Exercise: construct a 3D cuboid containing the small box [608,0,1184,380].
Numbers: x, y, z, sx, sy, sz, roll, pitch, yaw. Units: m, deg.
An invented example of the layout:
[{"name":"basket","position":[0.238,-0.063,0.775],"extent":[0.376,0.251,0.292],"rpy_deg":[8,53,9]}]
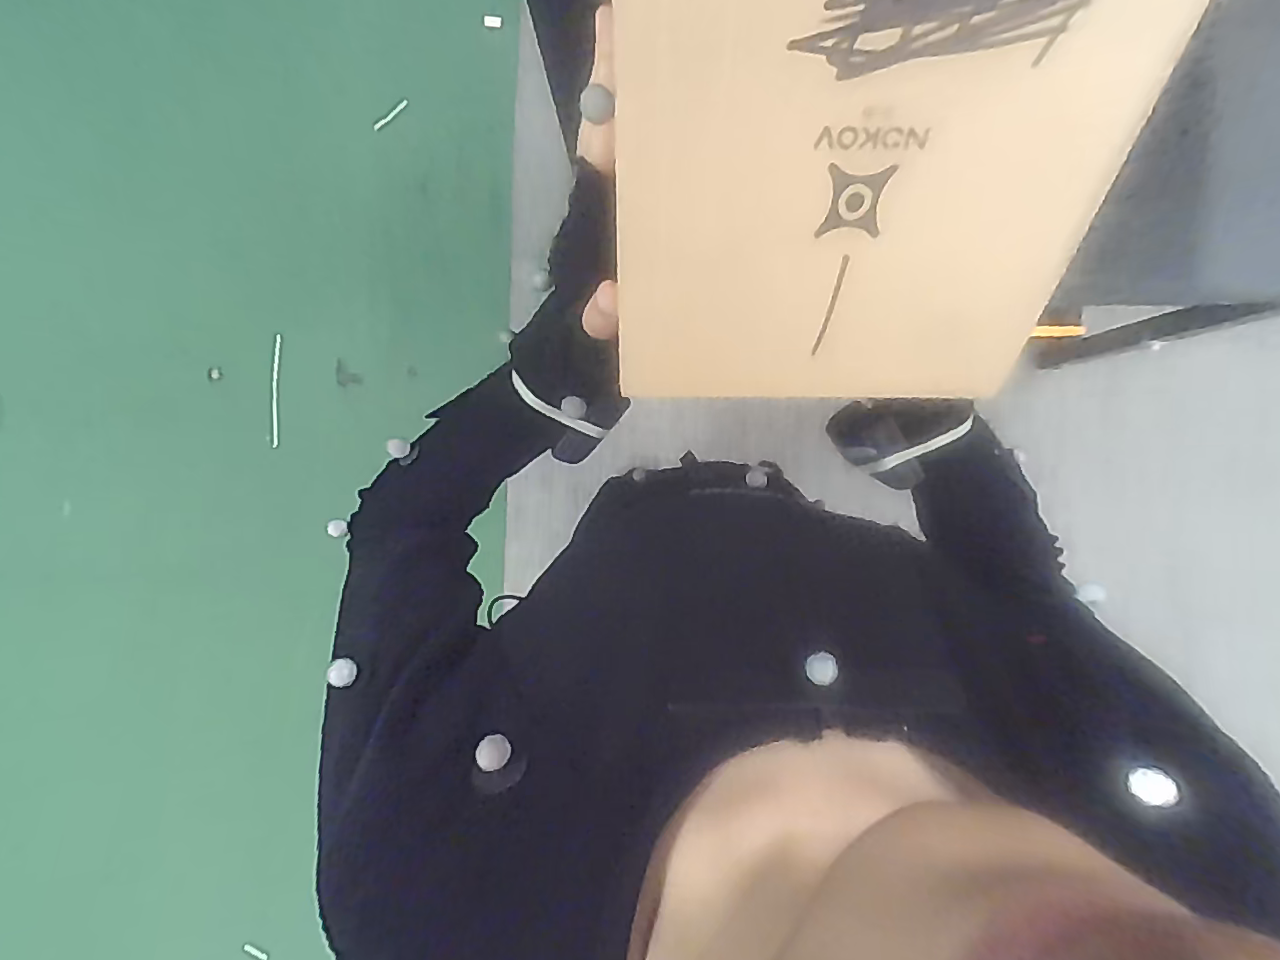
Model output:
[{"name":"small box","position":[0.069,-0.161,0.235],"extent":[0.168,0.176,0.179],"rpy_deg":[0,131,-1]}]
